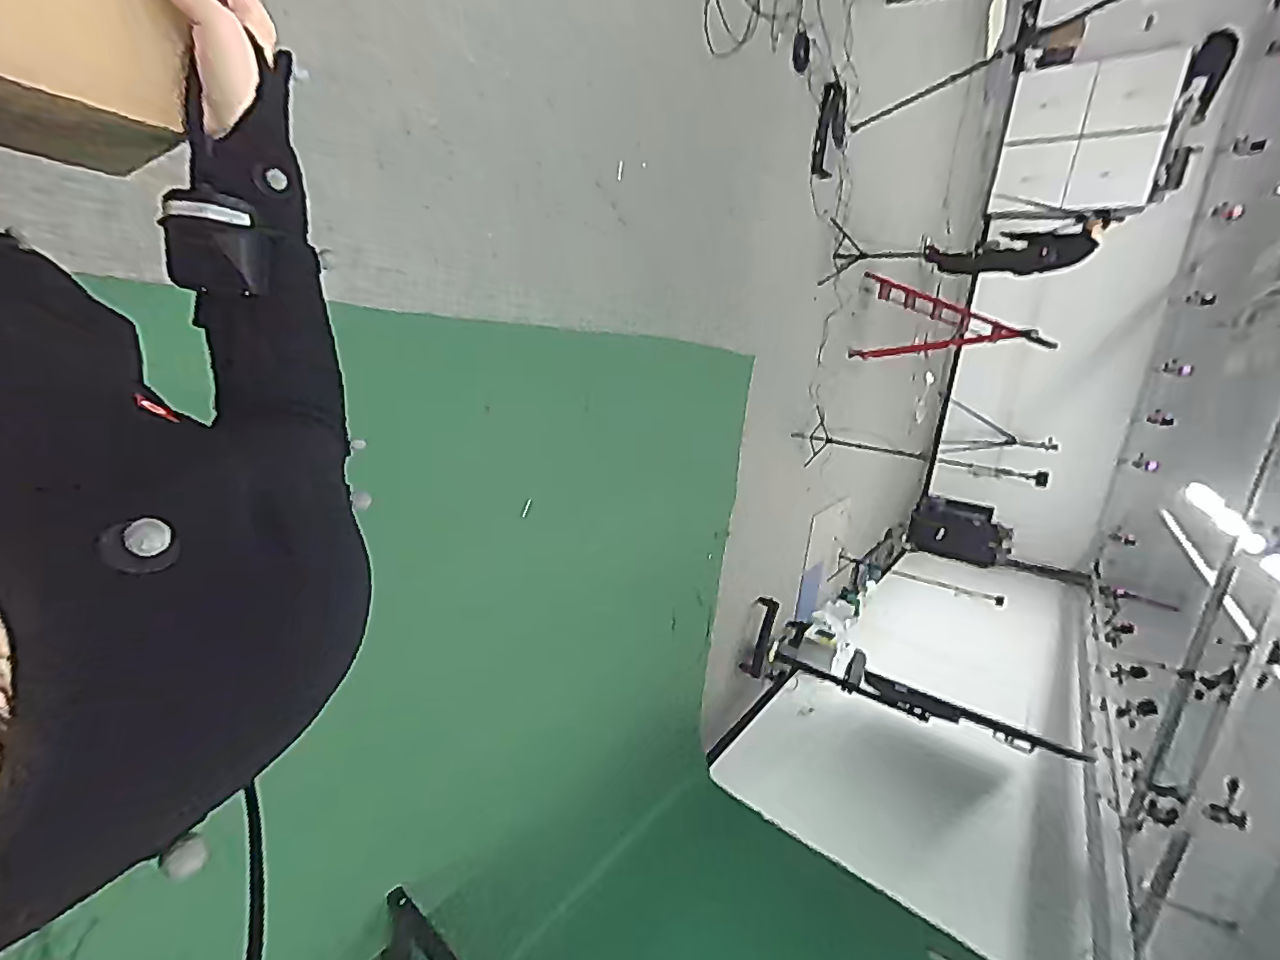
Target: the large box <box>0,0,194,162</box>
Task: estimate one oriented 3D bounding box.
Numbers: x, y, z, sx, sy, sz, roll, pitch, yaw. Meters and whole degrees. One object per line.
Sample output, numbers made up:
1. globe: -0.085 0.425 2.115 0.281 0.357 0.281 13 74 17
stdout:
1. large box: -0.536 -0.413 0.282 0.408 0.320 0.320 -9 112 -50
